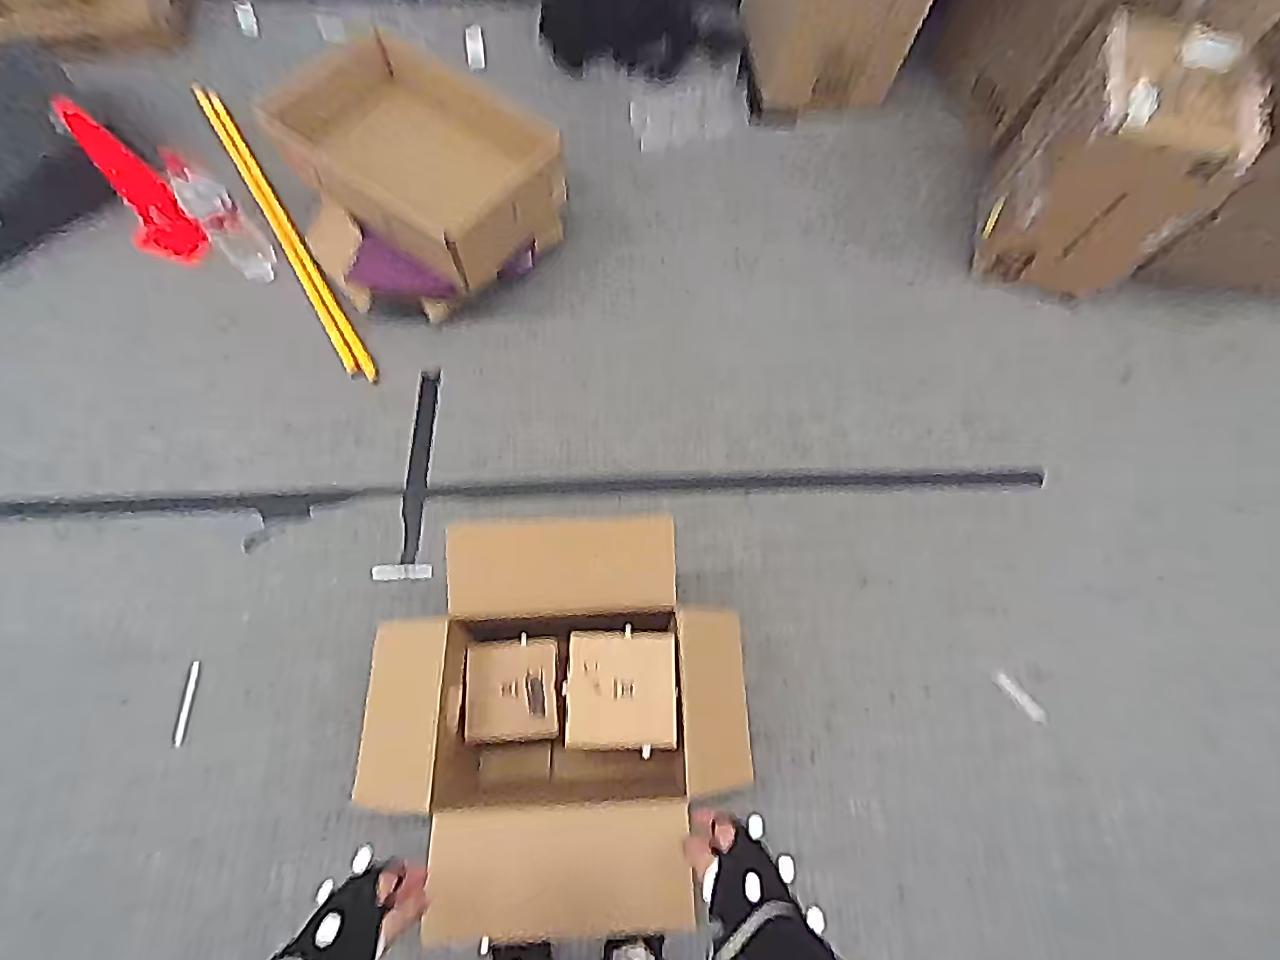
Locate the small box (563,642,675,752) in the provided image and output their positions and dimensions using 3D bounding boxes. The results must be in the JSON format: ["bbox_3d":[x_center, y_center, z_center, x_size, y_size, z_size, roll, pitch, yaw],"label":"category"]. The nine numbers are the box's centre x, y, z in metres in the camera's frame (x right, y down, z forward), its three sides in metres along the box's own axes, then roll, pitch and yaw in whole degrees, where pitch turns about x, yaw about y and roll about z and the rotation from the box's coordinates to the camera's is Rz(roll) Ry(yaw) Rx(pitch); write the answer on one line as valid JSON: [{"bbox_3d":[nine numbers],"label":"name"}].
[{"bbox_3d":[-0.037,0.374,0.941,0.179,0.176,0.168,1,68,-3],"label":"small box"}]
